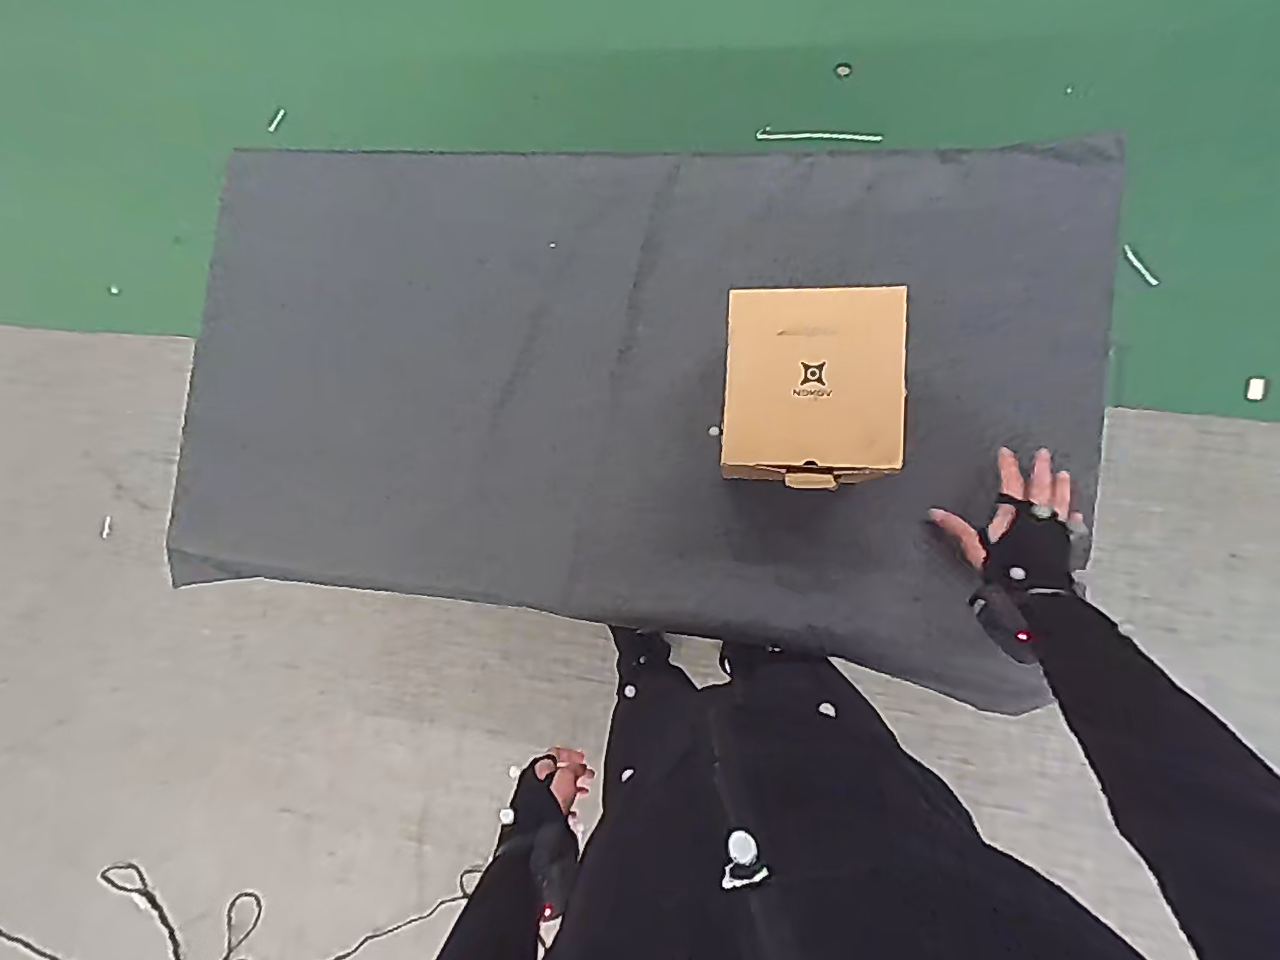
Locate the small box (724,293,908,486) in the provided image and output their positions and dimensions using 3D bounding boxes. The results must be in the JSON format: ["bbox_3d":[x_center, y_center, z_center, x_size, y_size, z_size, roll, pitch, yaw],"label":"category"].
[{"bbox_3d":[0.179,-0.087,0.594,0.168,0.176,0.179,2,84,8],"label":"small box"}]
